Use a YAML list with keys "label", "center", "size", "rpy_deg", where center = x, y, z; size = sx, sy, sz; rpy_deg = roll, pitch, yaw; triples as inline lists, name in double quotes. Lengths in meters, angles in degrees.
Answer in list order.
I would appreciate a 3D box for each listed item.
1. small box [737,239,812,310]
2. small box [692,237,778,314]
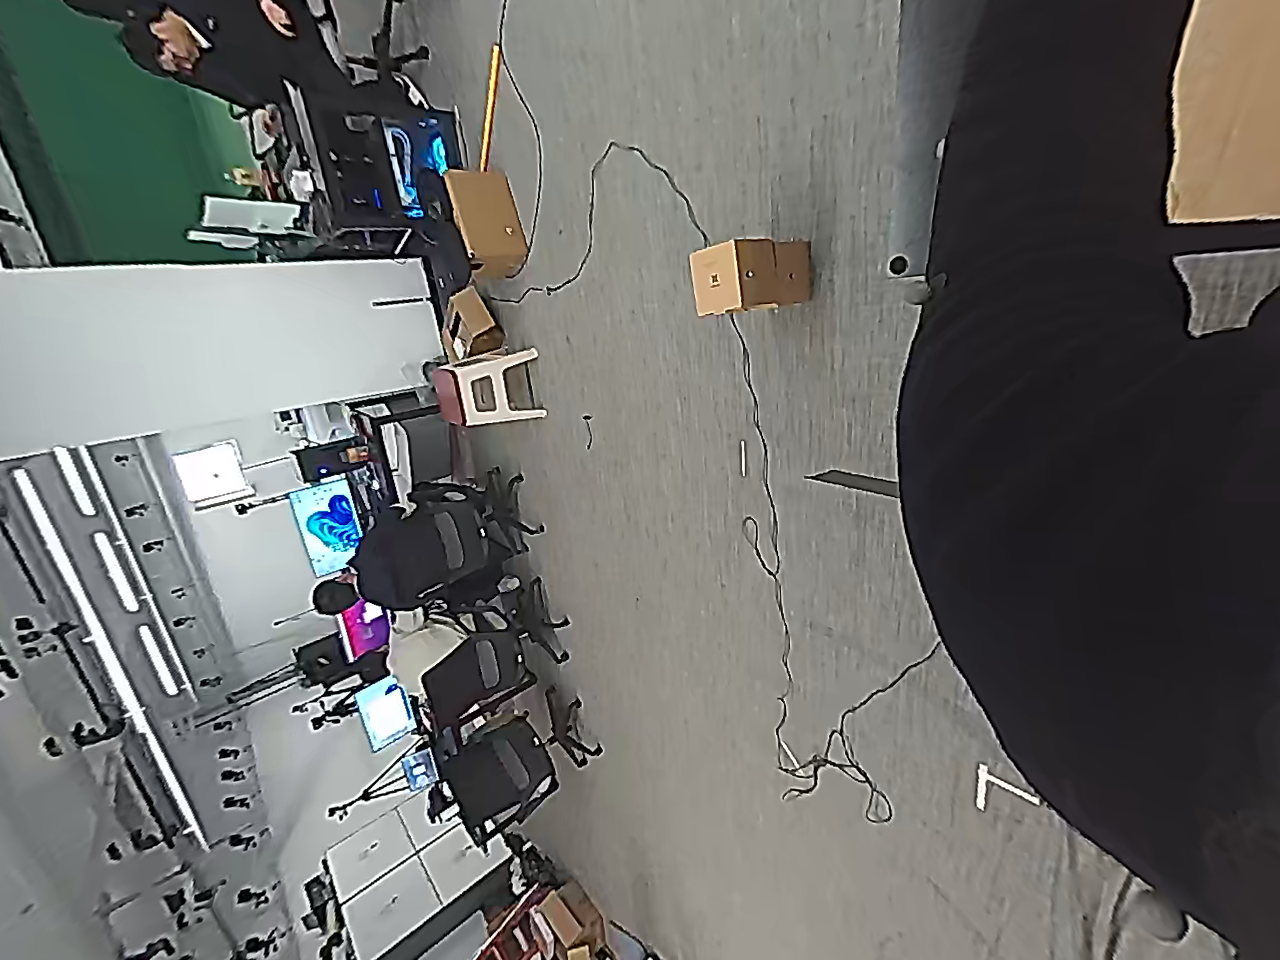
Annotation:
- label: "small box"
  center: [0.395, -0.614, 1.615]
  size: [0.168, 0.176, 0.179]
  rpy_deg: [11, 116, 49]
- label: "small box"
  center: [0.271, -0.574, 1.518]
  size: [0.168, 0.176, 0.179]
  rpy_deg: [8, 111, 50]
